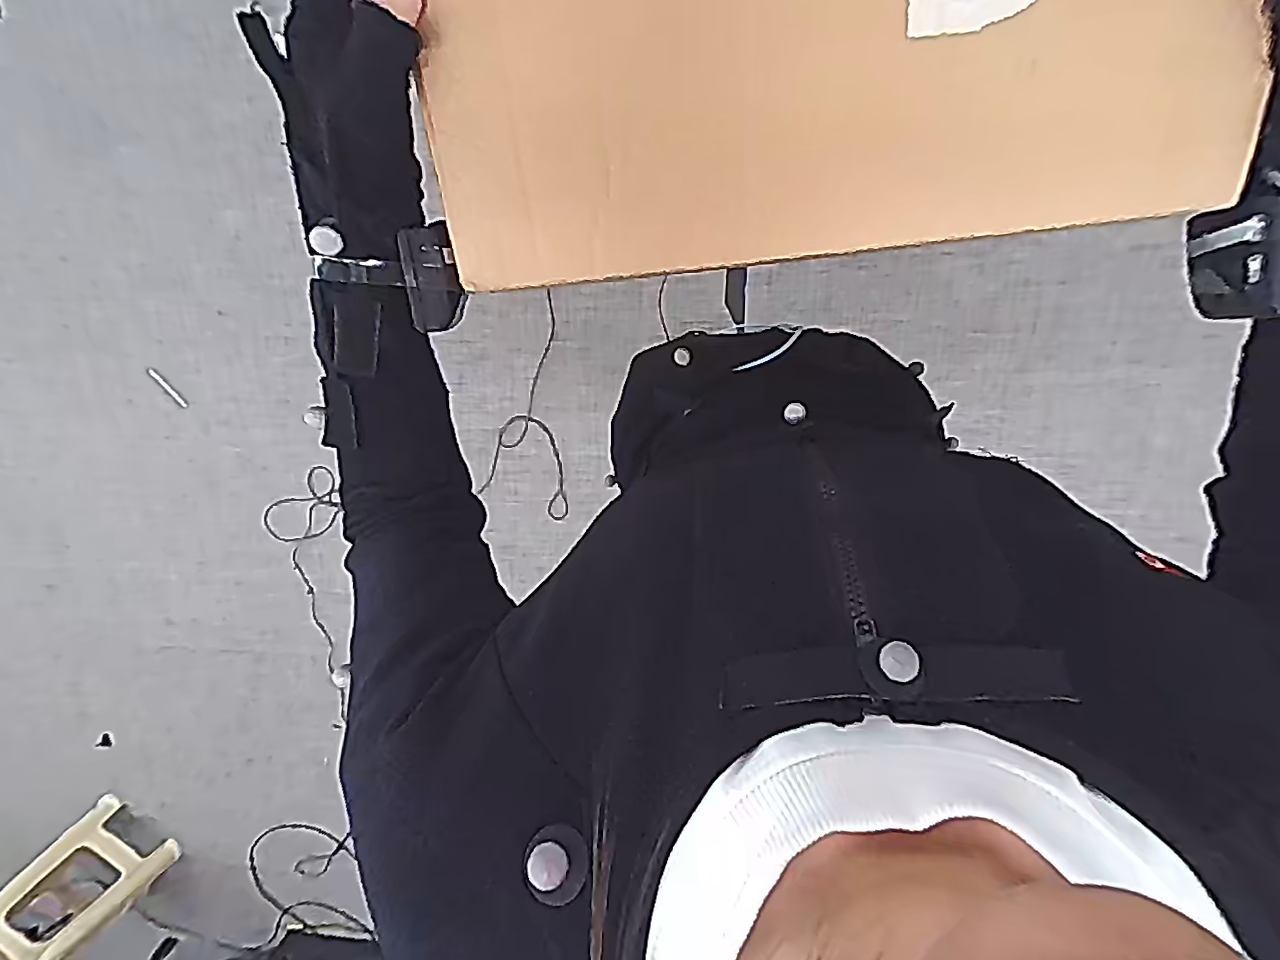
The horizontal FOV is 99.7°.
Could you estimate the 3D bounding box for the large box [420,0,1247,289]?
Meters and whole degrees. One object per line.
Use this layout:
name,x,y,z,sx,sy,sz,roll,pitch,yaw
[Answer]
large box,0.090,-0.330,0.390,0.408,0.320,0.320,-5,112,6
